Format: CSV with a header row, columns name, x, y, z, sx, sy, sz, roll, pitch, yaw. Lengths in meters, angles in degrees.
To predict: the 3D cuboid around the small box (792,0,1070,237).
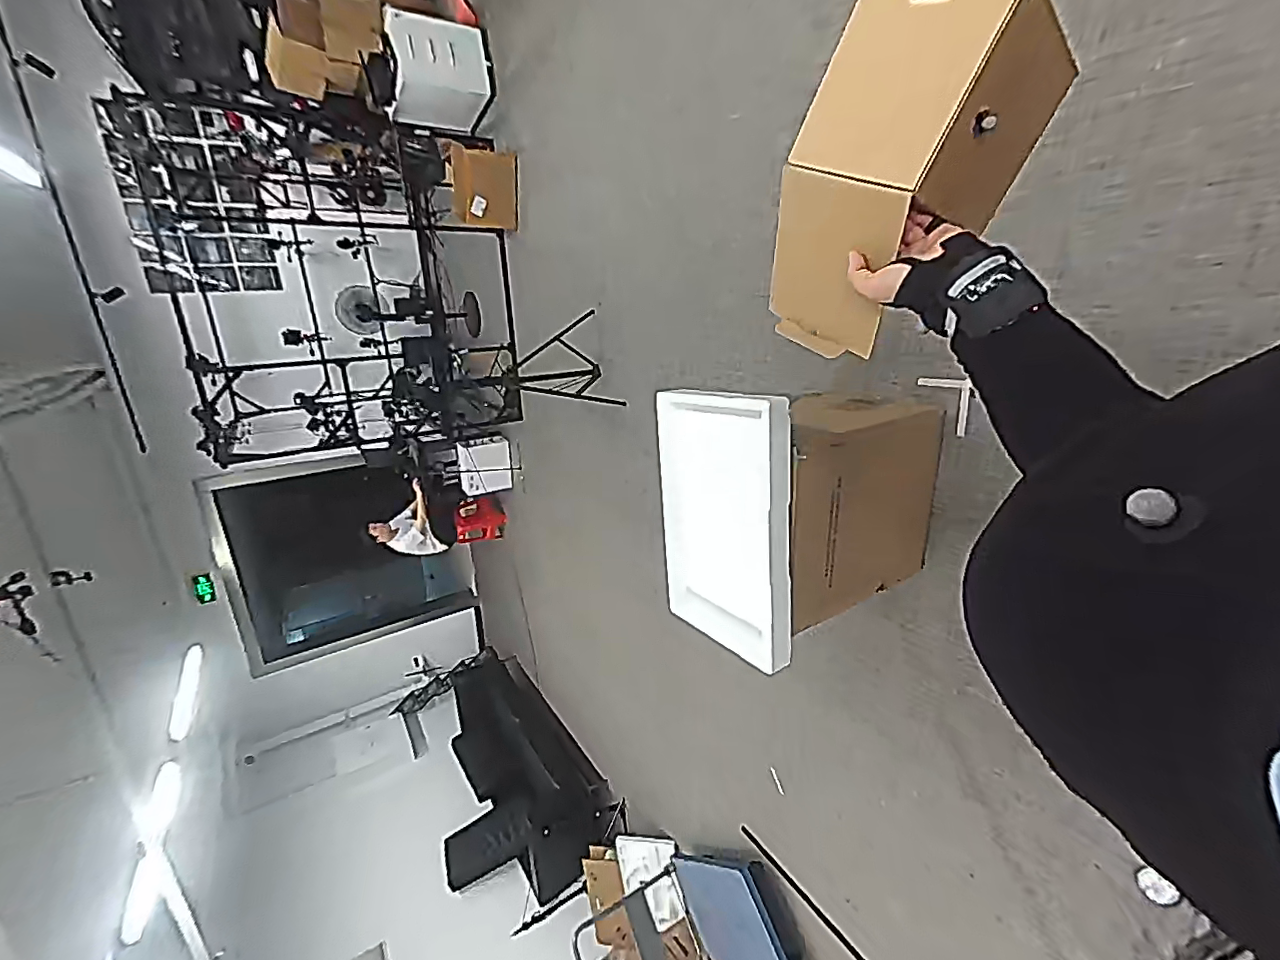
name,x,y,z,sx,sy,sz,roll,pitch,yaw
small box,0.303,-0.381,0.568,0.168,0.176,0.179,46,121,40
